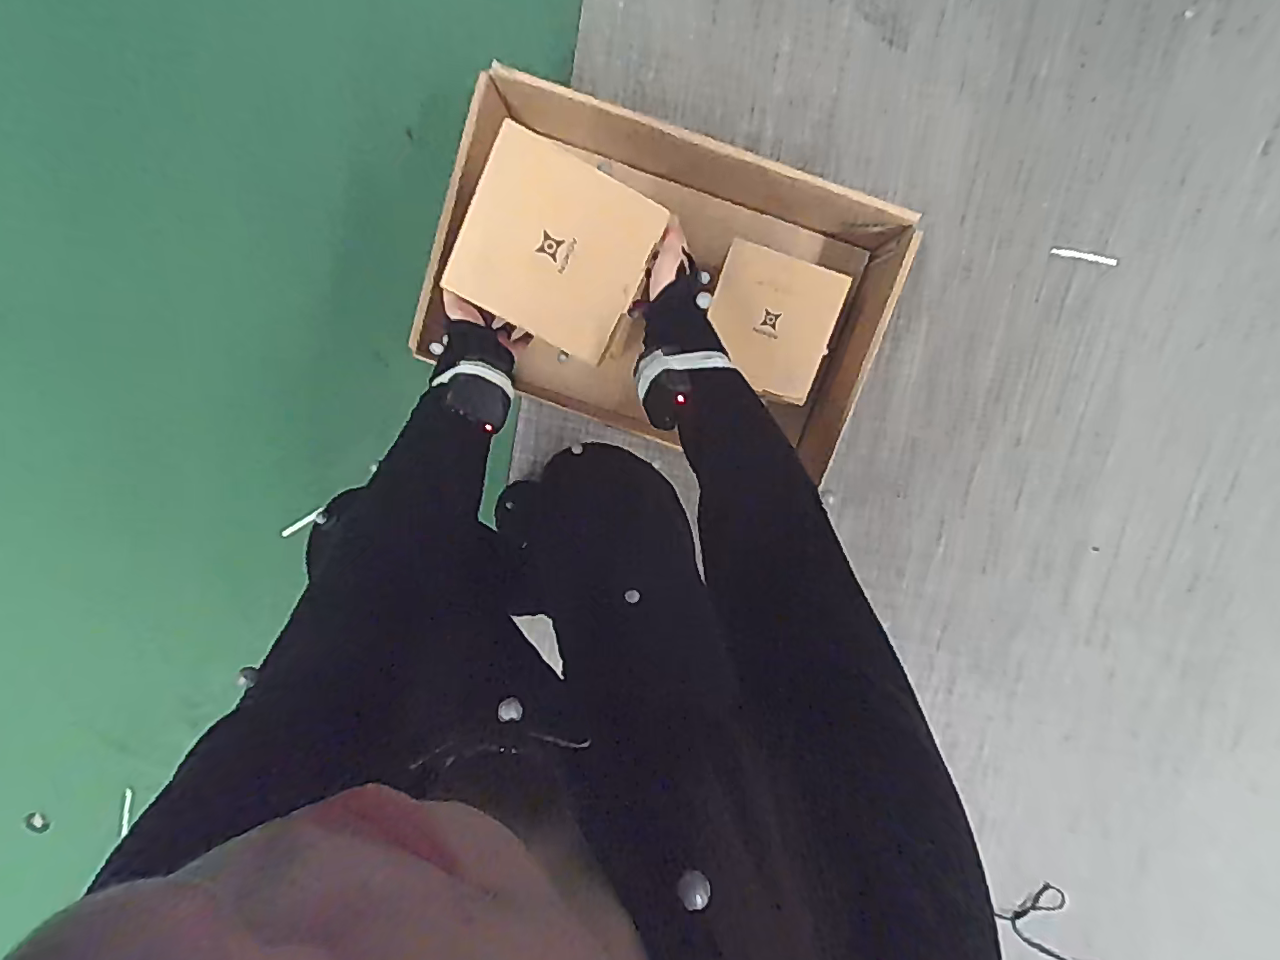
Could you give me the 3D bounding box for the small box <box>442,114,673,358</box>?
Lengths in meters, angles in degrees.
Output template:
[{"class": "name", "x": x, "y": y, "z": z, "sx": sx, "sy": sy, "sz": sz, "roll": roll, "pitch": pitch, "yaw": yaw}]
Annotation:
[{"class": "small box", "x": -0.083, "y": -0.249, "z": 0.597, "sx": 0.179, "sy": 0.176, "sz": 0.168, "roll": 26, "pitch": 104, "yaw": -9}]
